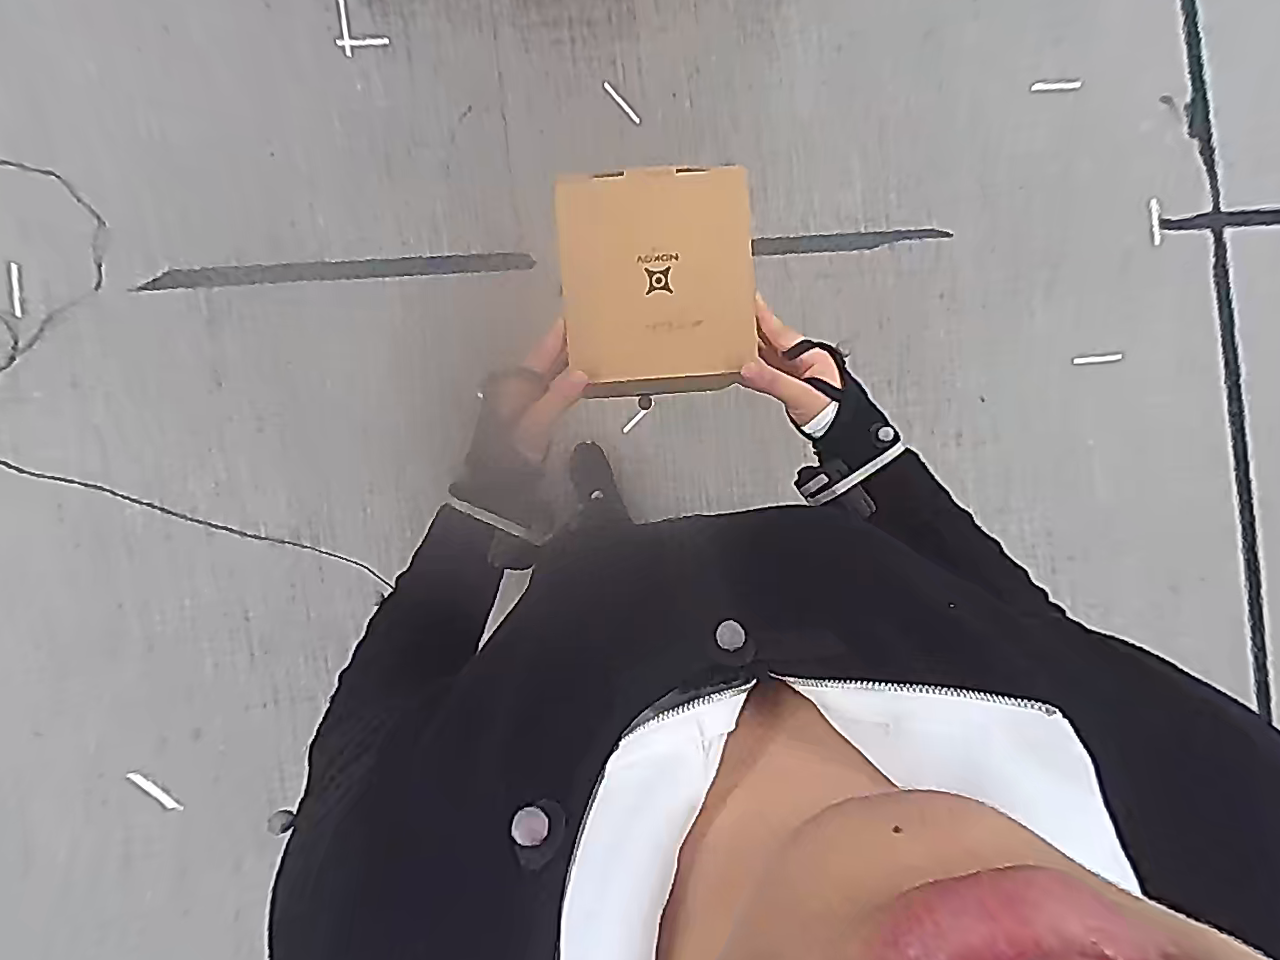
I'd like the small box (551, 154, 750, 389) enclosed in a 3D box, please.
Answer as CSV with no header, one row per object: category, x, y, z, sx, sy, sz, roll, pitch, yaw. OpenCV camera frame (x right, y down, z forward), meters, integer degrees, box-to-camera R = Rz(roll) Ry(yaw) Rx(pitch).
small box,0.006,-0.191,0.540,0.168,0.176,0.179,-4,94,-2

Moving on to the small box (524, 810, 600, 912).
small box,-0.181,0.931,1.295,0.168,0.176,0.179,-2,90,-4
